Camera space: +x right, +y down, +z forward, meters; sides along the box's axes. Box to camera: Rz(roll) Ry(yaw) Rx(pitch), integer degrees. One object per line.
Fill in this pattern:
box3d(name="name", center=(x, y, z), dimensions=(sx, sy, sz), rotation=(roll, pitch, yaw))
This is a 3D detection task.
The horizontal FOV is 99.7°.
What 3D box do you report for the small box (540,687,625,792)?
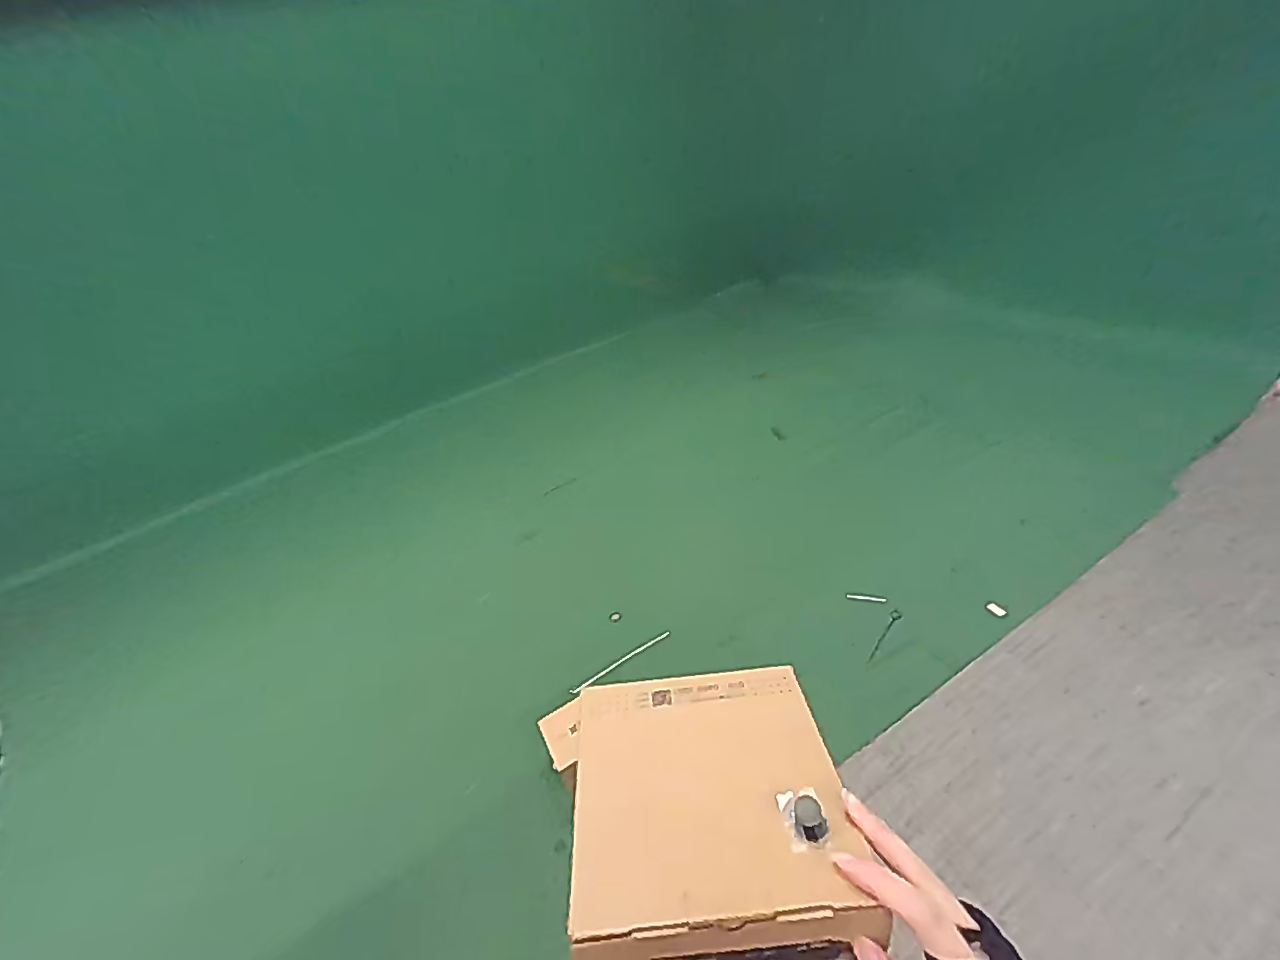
box3d(name="small box", center=(-0.155, 0.727, 1.516), dimensions=(0.179, 0.176, 0.168), rotation=(-27, 39, -16))
